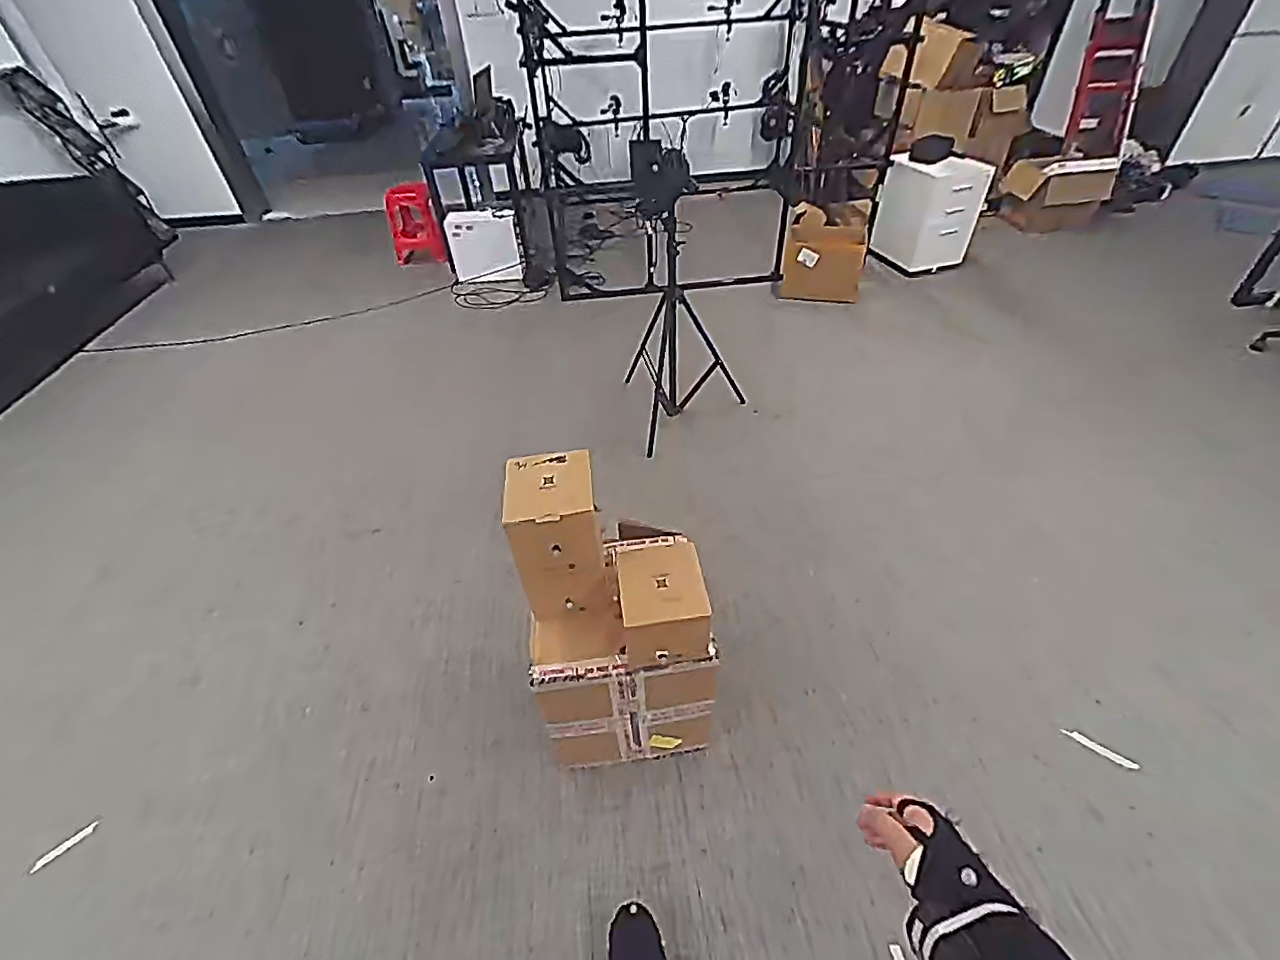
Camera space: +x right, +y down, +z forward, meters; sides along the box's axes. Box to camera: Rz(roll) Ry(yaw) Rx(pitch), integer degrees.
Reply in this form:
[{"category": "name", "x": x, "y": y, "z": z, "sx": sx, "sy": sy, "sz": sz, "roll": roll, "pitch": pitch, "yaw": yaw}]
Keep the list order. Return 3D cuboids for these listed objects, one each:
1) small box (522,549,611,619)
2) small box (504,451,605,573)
[{"category": "small box", "x": -0.160, "y": 0.181, "z": 1.195, "sx": 0.168, "sy": 0.176, "sz": 0.179, "roll": -9, "pitch": 45, "yaw": -3}, {"category": "small box", "x": -0.165, "y": 0.070, "z": 1.074, "sx": 0.168, "sy": 0.176, "sz": 0.179, "roll": -8, "pitch": 45, "yaw": -2}]
